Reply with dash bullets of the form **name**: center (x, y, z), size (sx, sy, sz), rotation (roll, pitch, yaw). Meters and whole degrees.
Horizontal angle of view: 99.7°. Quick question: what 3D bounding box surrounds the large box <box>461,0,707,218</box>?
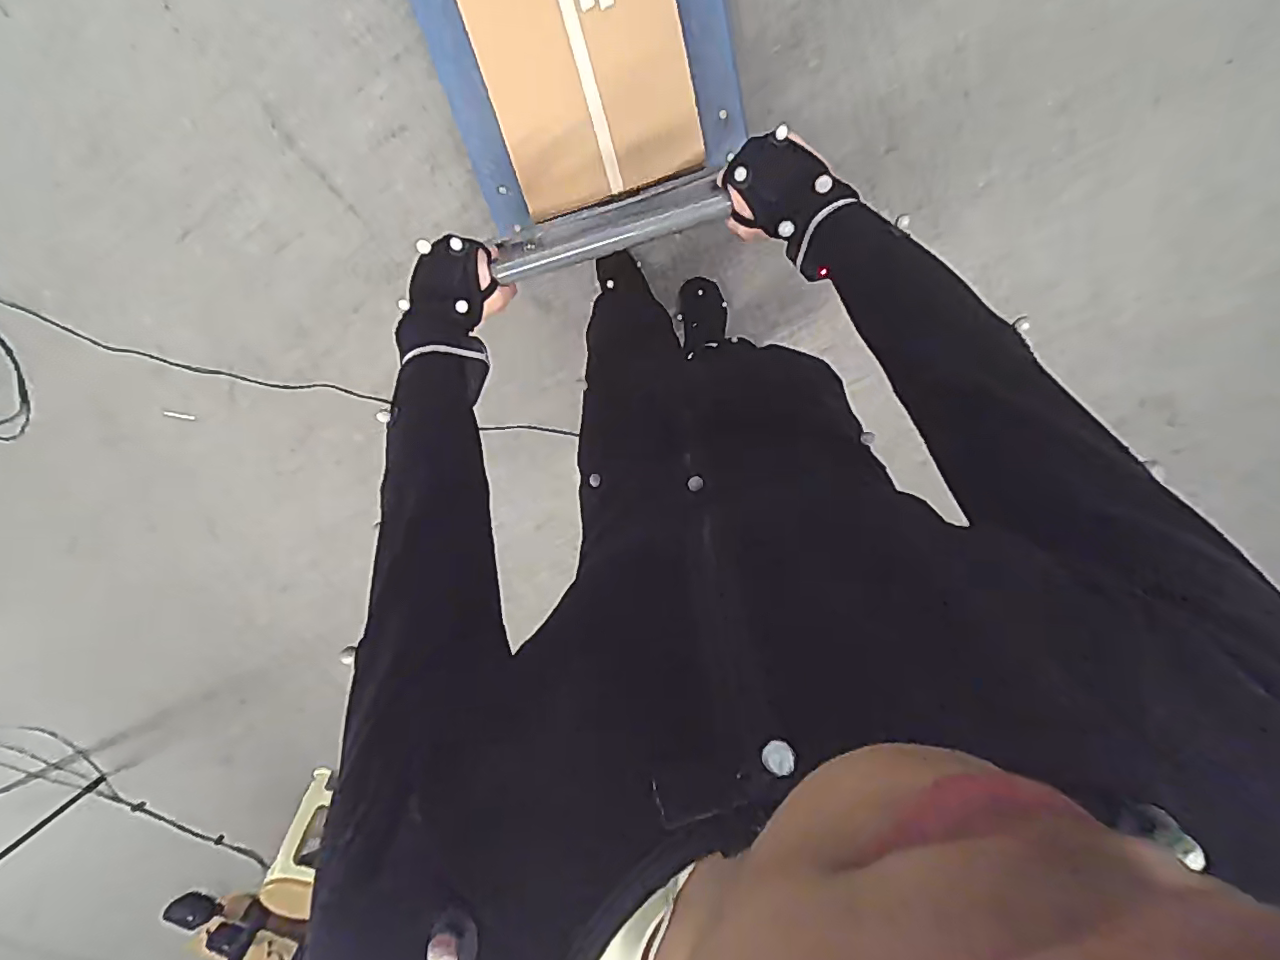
- **large box**: center (-0.083, -0.727, 0.958), size (0.320, 0.320, 0.408), rotation (-13, 117, 8)
